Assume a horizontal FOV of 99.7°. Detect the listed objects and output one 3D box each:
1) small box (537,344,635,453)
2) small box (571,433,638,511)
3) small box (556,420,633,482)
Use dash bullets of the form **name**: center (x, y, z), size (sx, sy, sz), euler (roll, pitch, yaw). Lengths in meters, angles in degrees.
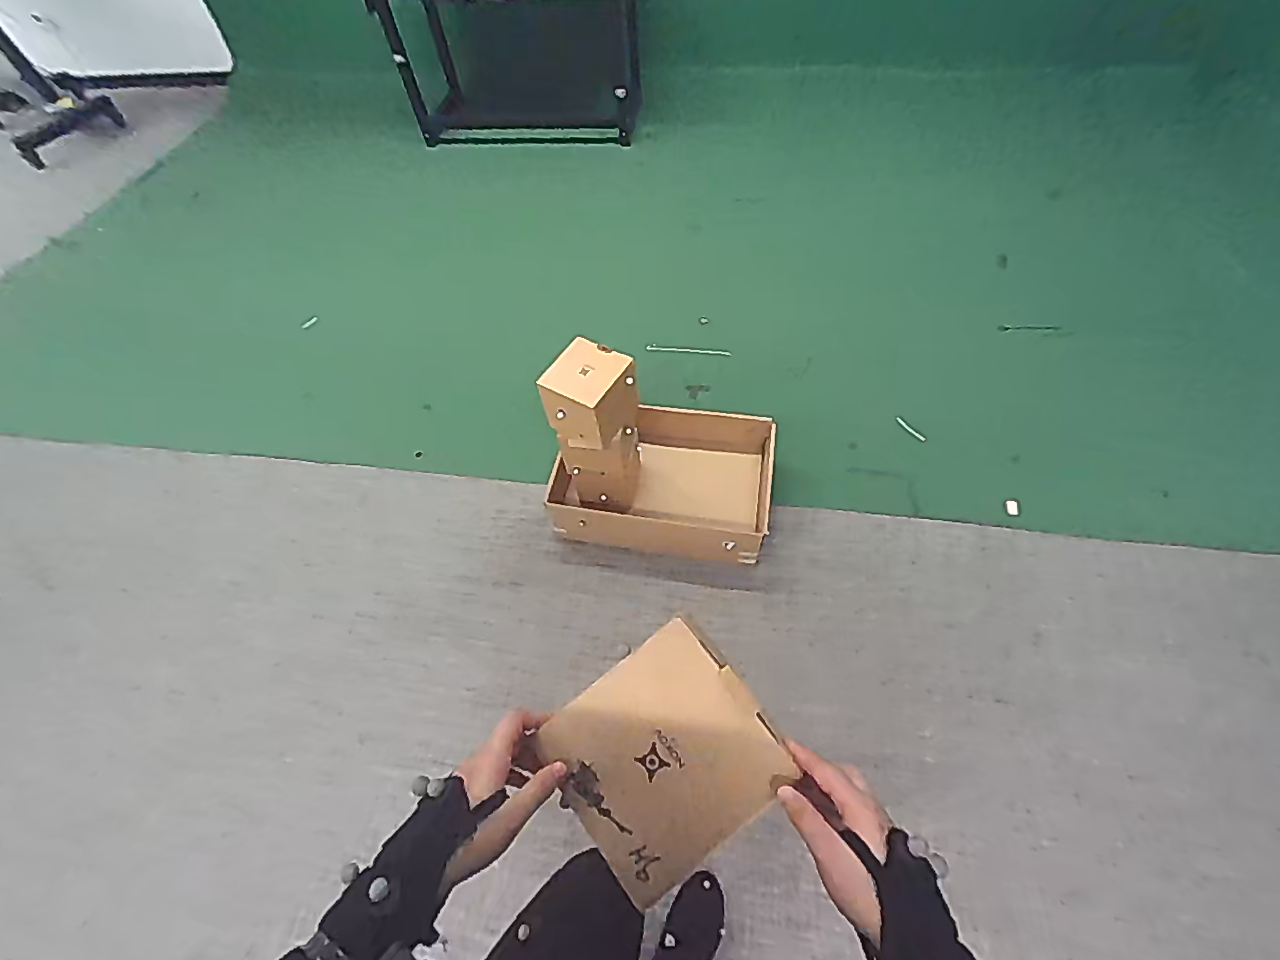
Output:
- **small box**: center (-0.123, -0.196, 1.328), size (0.168, 0.176, 0.179), euler (26, 61, 19)
- **small box**: center (-0.098, -0.029, 1.608), size (0.168, 0.176, 0.179), euler (5, 57, 8)
- **small box**: center (-0.115, -0.112, 1.467), size (0.168, 0.176, 0.179), euler (7, 56, 7)
